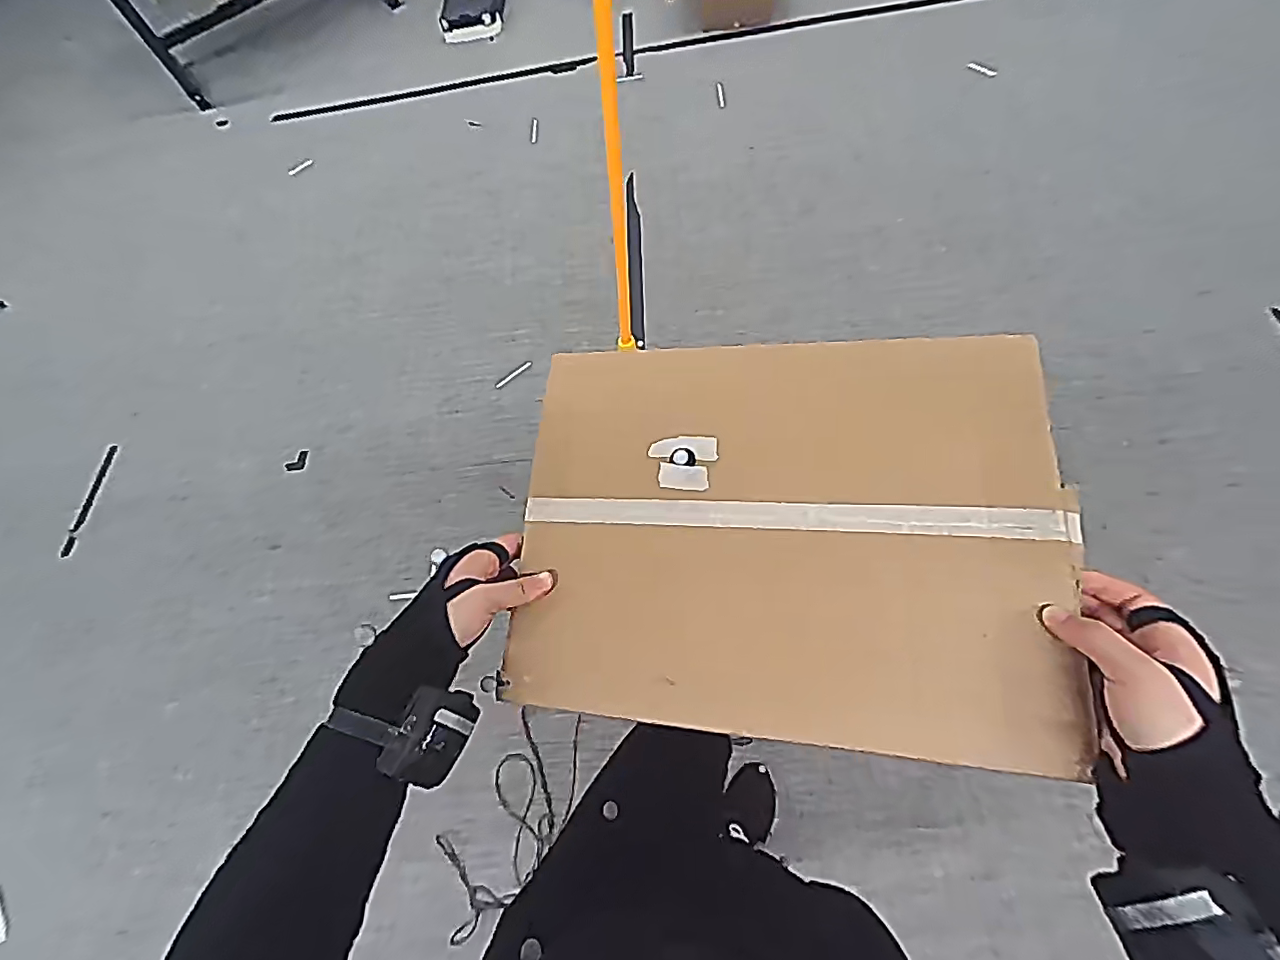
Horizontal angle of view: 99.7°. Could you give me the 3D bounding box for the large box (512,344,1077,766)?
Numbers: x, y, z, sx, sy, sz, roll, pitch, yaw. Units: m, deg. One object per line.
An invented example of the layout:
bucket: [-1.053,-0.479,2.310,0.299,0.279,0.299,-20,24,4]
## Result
large box: [0.135,0.086,0.572,0.408,0.320,0.320,0,70,16]
